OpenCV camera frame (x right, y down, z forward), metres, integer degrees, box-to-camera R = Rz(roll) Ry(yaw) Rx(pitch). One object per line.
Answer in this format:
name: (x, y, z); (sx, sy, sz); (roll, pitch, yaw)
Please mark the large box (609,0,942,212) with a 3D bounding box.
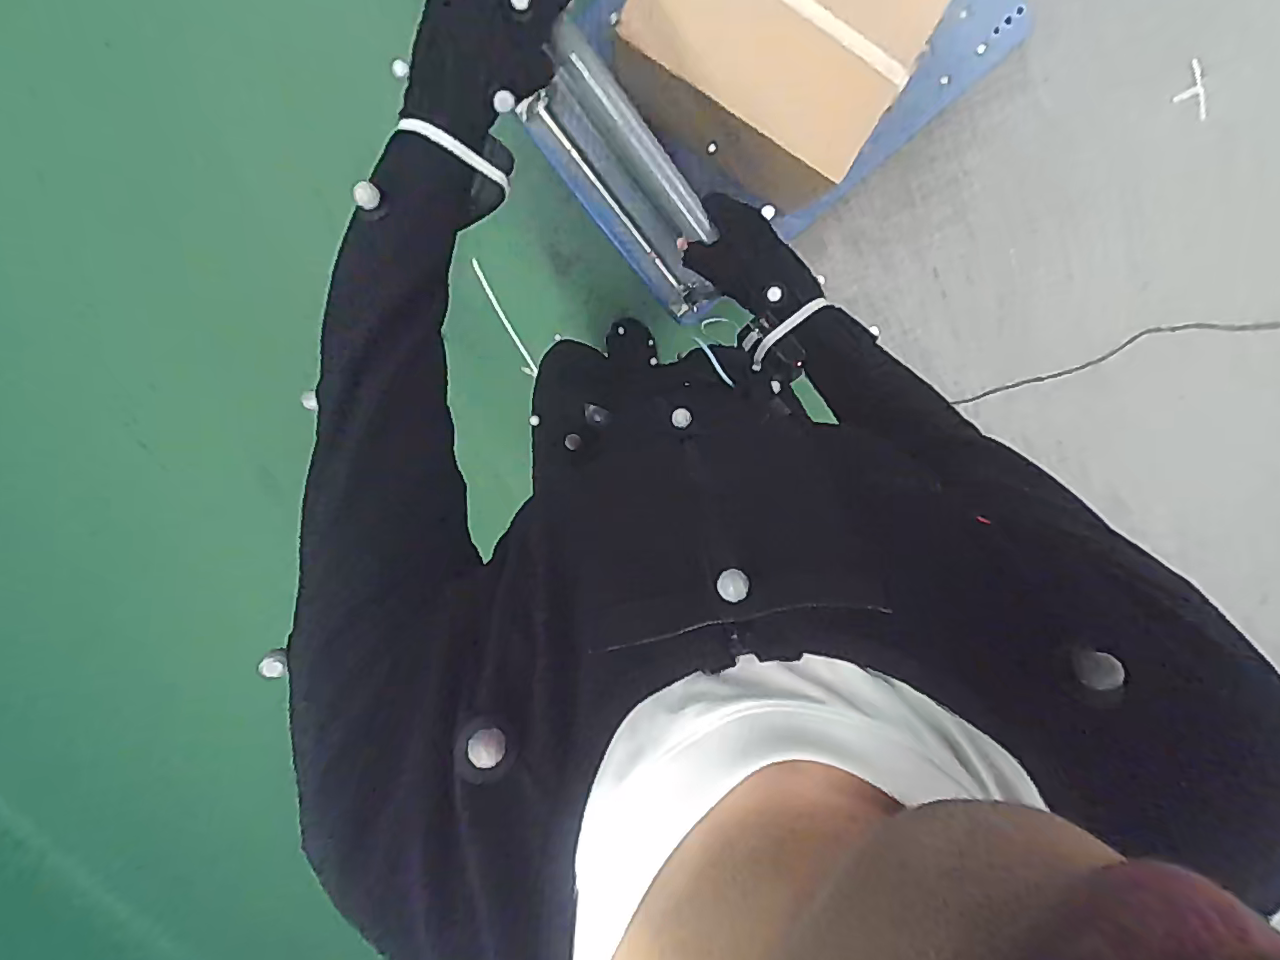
large box: (0.202, -0.720, 0.915); (0.408, 0.320, 0.320); (29, 106, -9)
